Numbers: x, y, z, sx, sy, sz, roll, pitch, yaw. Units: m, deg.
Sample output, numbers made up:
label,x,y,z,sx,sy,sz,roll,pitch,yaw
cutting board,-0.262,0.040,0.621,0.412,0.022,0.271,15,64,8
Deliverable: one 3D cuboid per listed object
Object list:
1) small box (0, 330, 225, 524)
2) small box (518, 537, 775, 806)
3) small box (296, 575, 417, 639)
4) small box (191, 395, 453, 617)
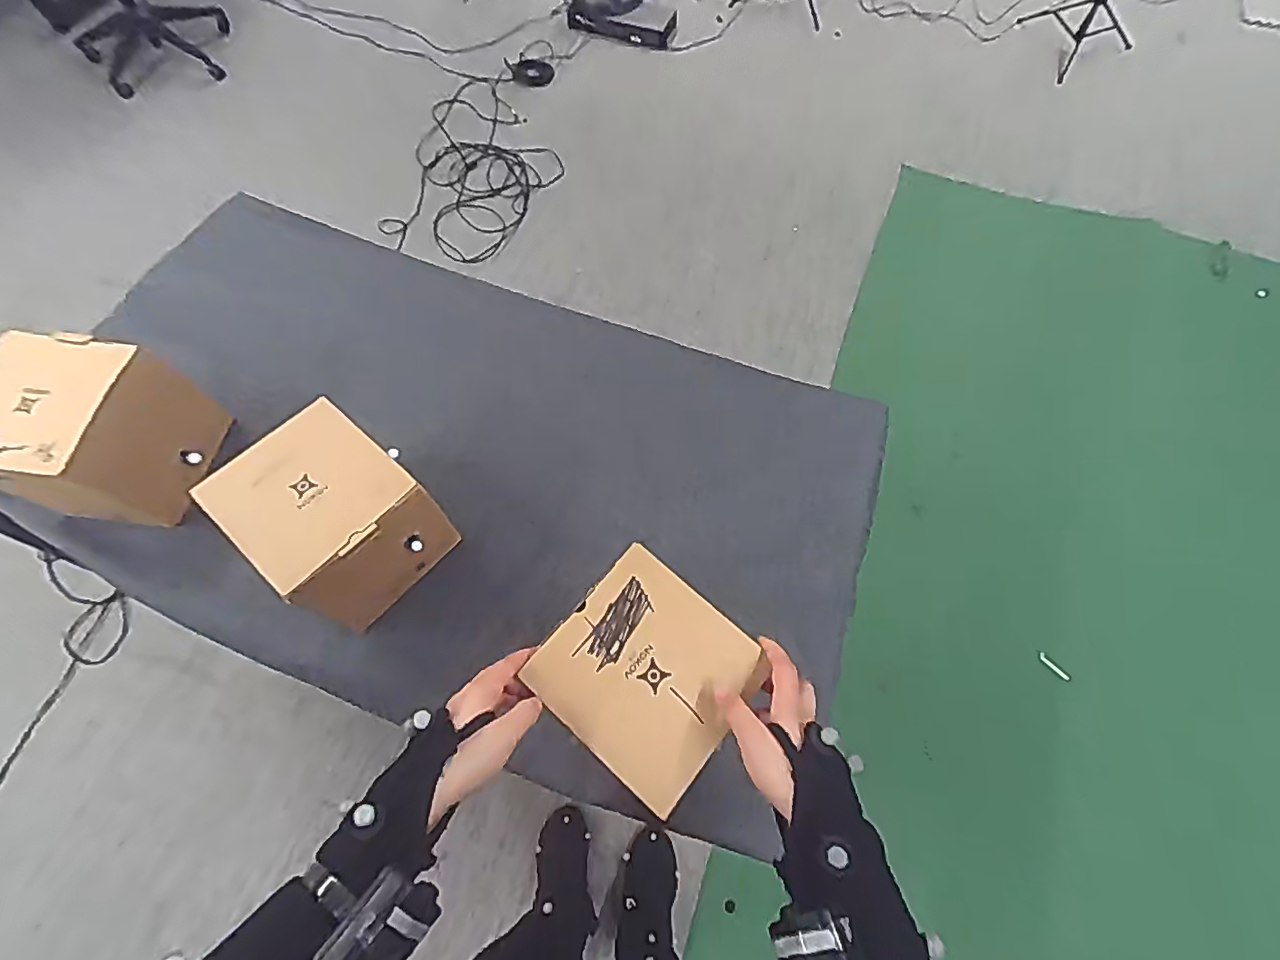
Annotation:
label,x,y,z,sx,sy,sz,roll,pitch,yaw
small box,-0.682,-0.061,0.685,0.168,0.176,0.179,7,66,3
small box,0.006,0.193,0.558,0.179,0.176,0.168,39,74,15
small box,-0.687,0.275,1.336,0.168,0.176,0.179,22,67,10
small box,-0.353,0.041,0.639,0.179,0.176,0.168,37,68,17
